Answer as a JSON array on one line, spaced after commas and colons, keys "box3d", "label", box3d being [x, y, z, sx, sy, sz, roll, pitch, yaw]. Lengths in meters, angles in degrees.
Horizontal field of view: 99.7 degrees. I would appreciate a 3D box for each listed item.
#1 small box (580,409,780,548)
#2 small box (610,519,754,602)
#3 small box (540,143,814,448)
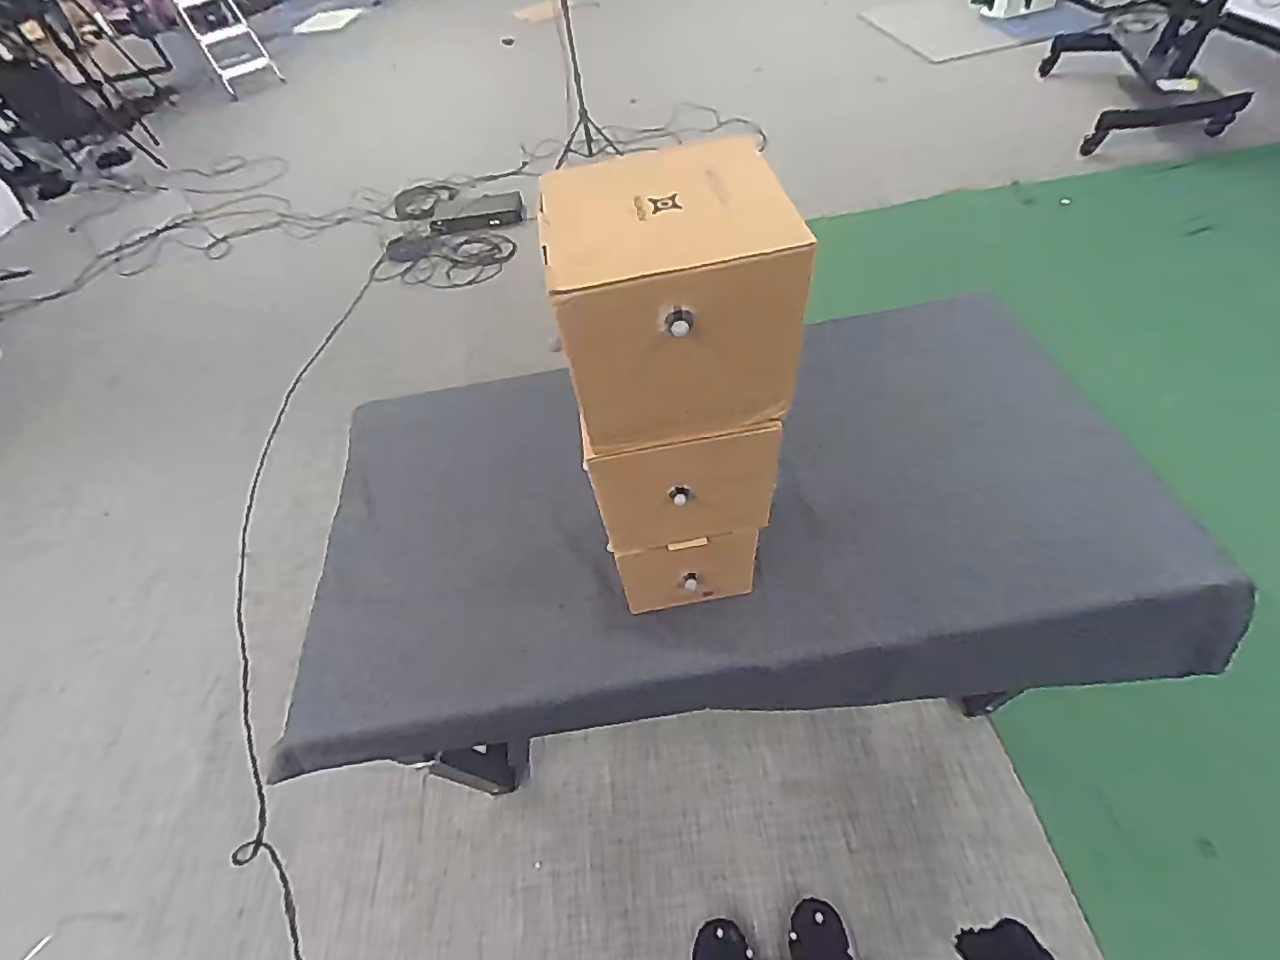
[{"box3d": [0.036, -0.046, 0.580, 0.179, 0.176, 0.168, -10, 54, 1], "label": "small box"}, {"box3d": [0.046, 0.048, 0.715, 0.168, 0.176, 0.179, -11, 54, 0], "label": "small box"}, {"box3d": [0.024, -0.145, 0.453, 0.179, 0.176, 0.168, -10, 55, -1], "label": "small box"}]
